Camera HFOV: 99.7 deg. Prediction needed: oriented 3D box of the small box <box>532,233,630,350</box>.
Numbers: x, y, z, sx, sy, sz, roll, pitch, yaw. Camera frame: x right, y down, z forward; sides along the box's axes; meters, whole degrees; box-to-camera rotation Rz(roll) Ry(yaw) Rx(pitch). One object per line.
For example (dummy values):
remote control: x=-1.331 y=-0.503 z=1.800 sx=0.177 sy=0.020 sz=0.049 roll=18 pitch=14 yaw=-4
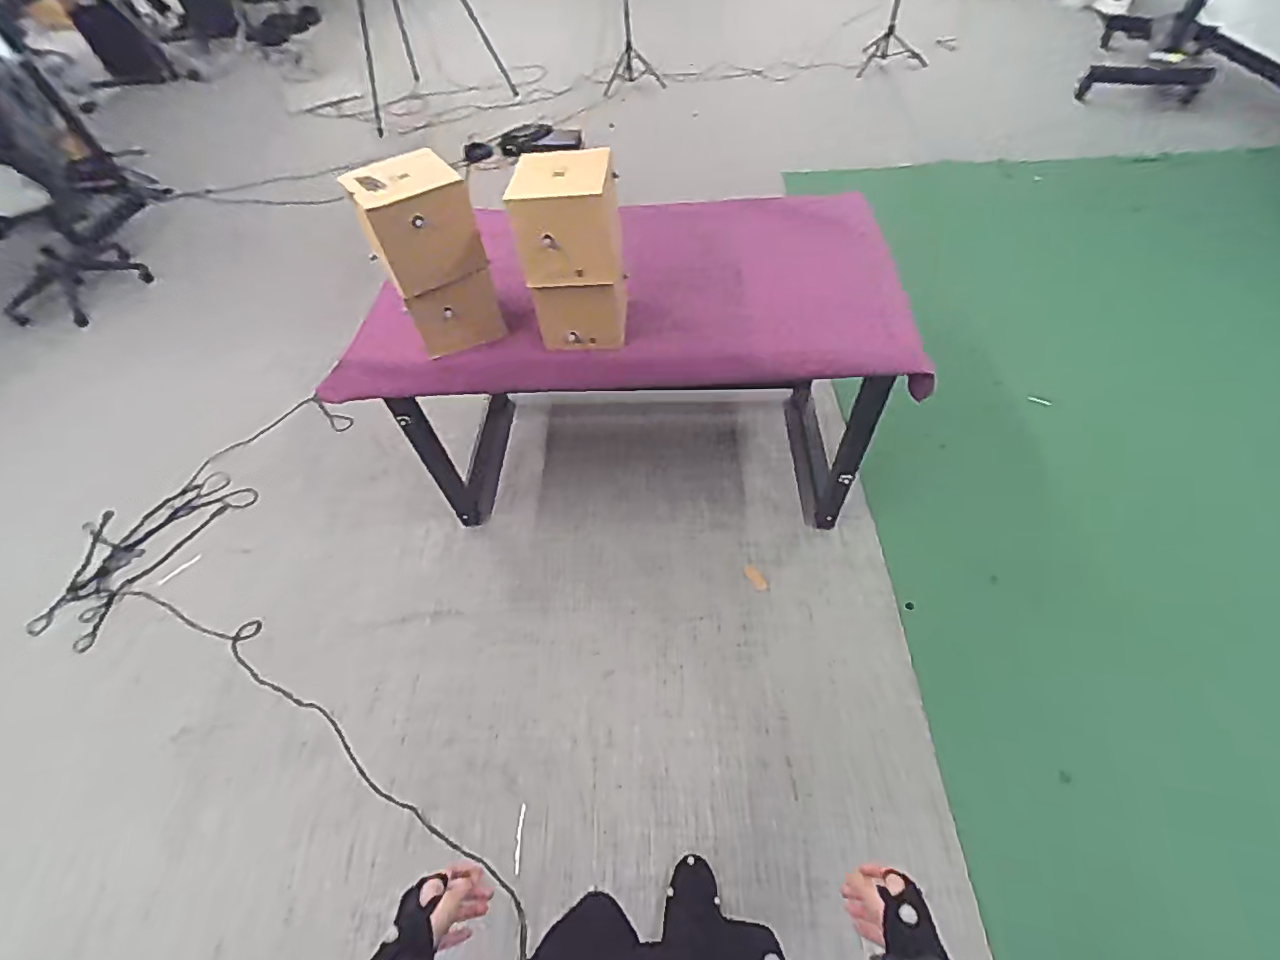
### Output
small box: x=-0.113 y=-0.392 z=1.125 sx=0.168 sy=0.176 sz=0.179 roll=1 pitch=54 yaw=6

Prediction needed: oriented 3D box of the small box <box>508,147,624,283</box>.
small box: x=-0.123 y=-0.475 z=0.985 sx=0.168 sy=0.176 sz=0.179 roll=0 pitch=52 yaw=6

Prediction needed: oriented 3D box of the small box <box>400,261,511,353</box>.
small box: x=-0.394 y=-0.397 z=1.146 sx=0.179 sy=0.176 sz=0.168 roll=-20 pitch=55 yaw=-10

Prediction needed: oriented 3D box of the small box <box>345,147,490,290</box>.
small box: x=-0.405 y=-0.482 z=1.005 sx=0.179 sy=0.176 sz=0.168 roll=-29 pitch=57 yaw=-18
